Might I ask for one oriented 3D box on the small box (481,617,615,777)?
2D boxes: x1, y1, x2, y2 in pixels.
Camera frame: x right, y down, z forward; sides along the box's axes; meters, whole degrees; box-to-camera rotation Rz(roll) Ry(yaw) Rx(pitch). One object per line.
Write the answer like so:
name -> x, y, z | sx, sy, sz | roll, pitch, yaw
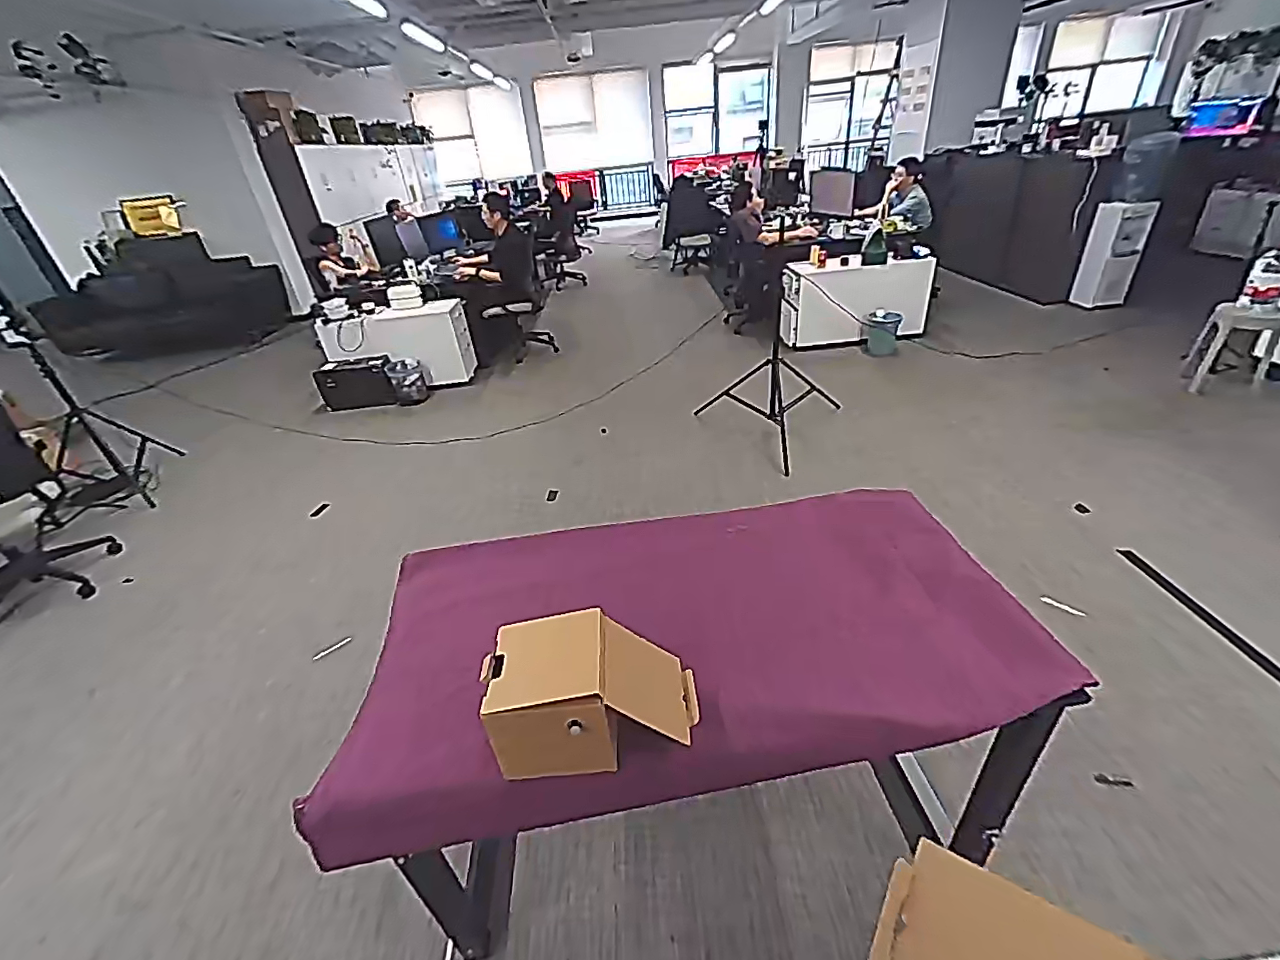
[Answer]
small box -> -0.132, 0.343, 0.860 | 0.179, 0.176, 0.168 | -6, 31, 1
